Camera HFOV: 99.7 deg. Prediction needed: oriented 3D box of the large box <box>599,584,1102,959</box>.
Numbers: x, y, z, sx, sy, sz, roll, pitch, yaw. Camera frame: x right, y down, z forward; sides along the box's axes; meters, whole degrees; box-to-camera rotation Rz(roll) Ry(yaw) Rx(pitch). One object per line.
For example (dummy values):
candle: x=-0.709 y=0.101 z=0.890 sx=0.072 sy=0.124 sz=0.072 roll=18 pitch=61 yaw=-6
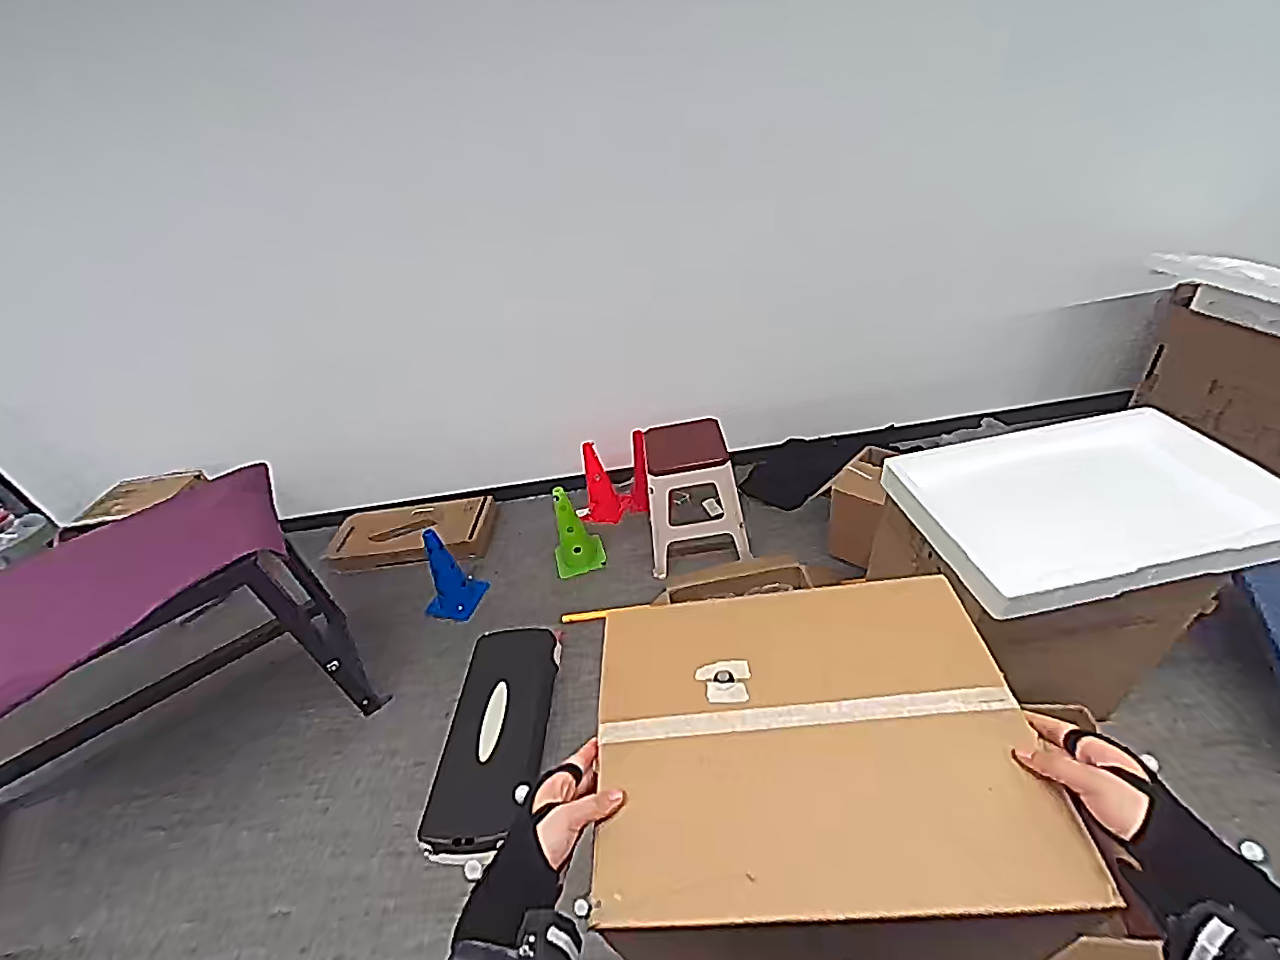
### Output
large box: x=0.188 y=0.363 z=0.637 sx=0.408 sy=0.320 sz=0.320 roll=-9 pitch=38 yaw=7
